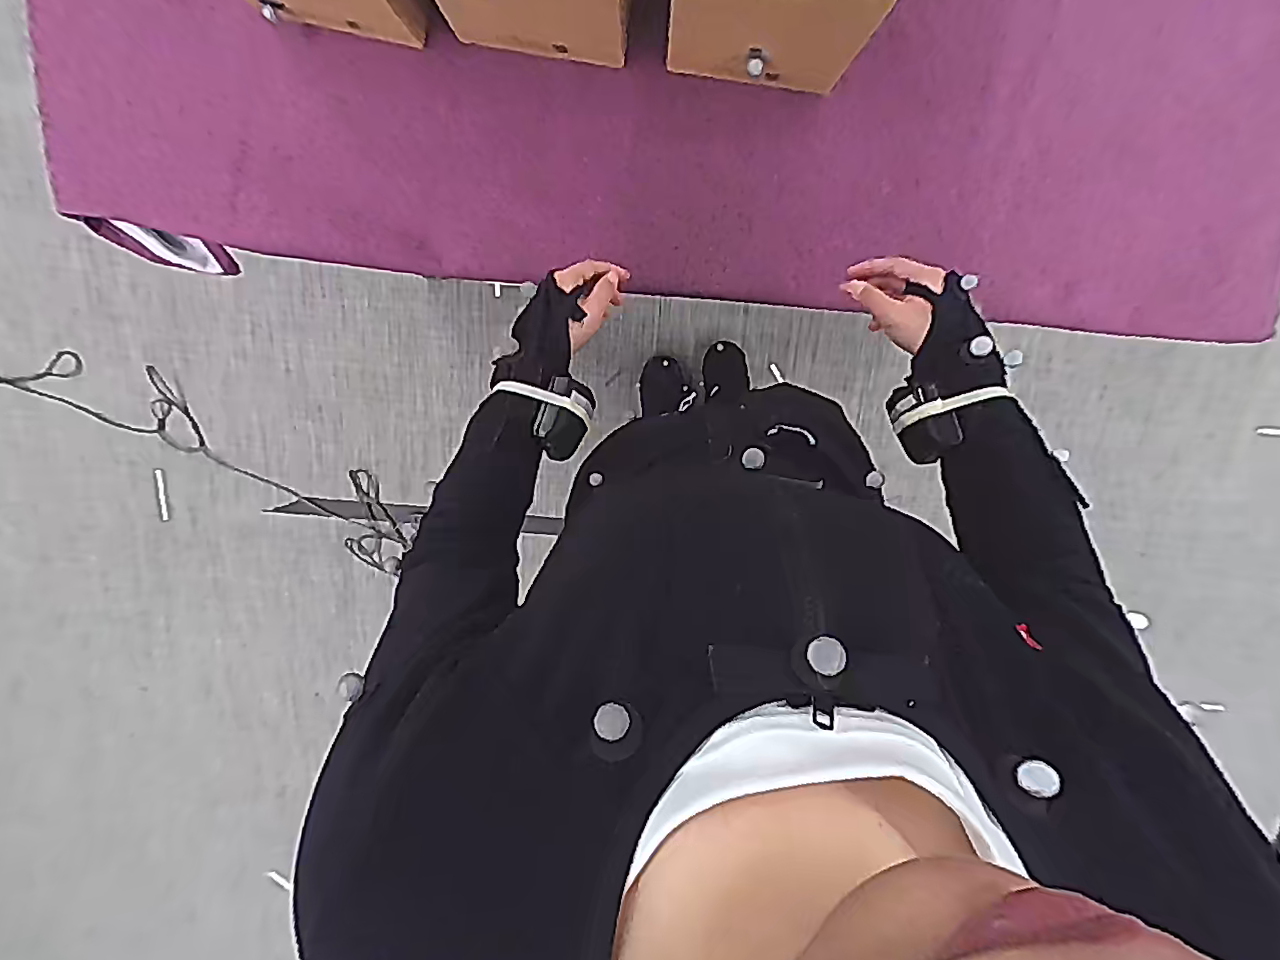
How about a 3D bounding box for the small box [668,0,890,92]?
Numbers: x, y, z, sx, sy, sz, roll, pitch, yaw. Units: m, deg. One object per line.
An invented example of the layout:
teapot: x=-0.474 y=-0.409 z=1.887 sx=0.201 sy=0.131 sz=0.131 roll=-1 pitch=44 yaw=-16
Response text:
small box: x=0.116 y=-0.461 z=0.440 sx=0.168 sy=0.176 sz=0.179 roll=8 pitch=104 yaw=-1
